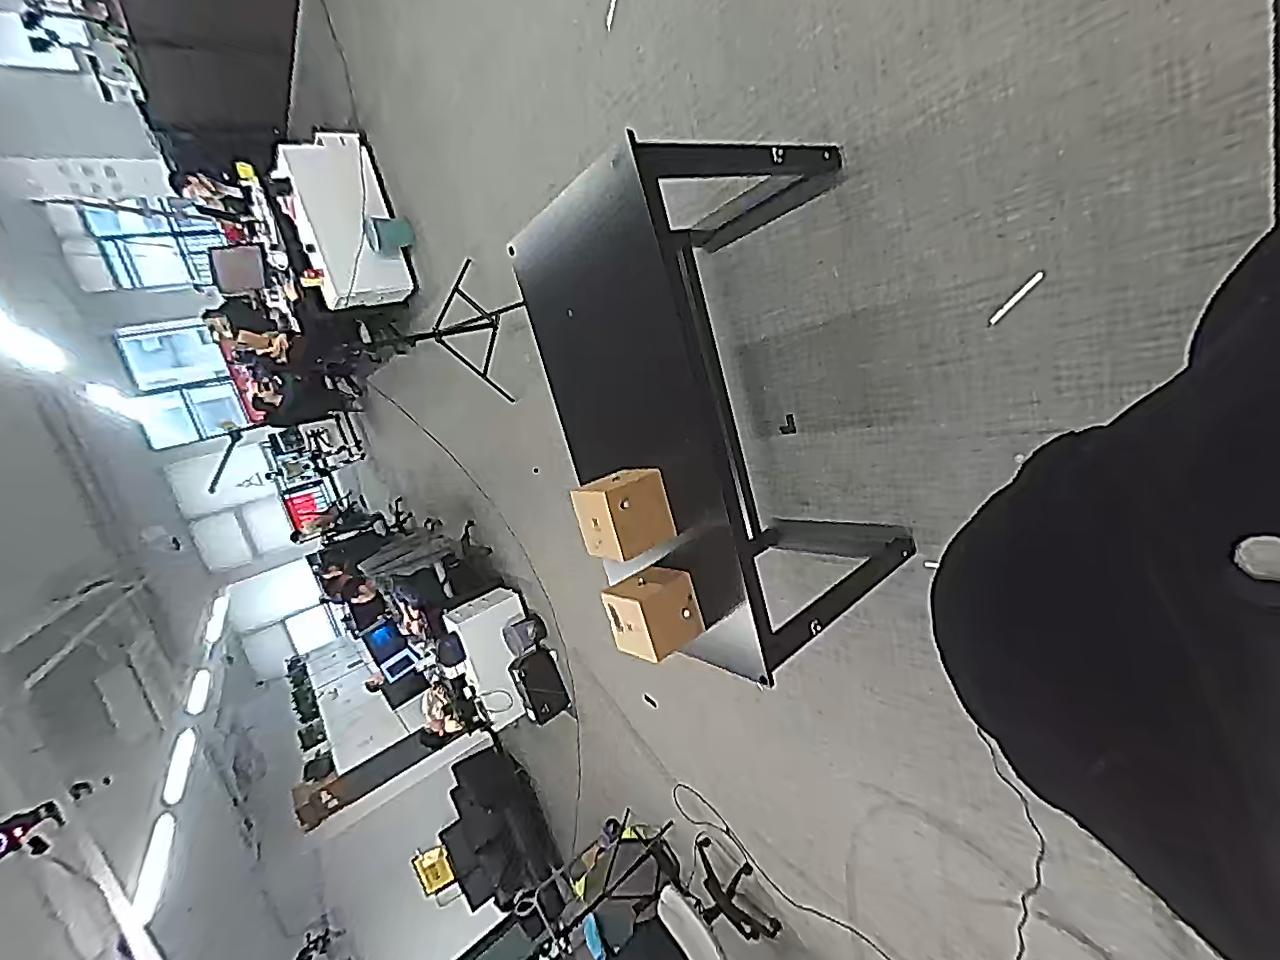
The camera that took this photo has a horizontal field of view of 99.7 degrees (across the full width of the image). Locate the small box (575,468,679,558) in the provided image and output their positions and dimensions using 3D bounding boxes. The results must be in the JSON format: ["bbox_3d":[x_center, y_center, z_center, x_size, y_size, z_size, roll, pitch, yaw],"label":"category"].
[{"bbox_3d":[-0.031,0.073,1.341,0.168,0.176,0.179,0,109,55],"label":"small box"}]

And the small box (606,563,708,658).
[{"bbox_3d":[0.044,0.325,1.388,0.179,0.176,0.168,-4,106,55],"label":"small box"}]
